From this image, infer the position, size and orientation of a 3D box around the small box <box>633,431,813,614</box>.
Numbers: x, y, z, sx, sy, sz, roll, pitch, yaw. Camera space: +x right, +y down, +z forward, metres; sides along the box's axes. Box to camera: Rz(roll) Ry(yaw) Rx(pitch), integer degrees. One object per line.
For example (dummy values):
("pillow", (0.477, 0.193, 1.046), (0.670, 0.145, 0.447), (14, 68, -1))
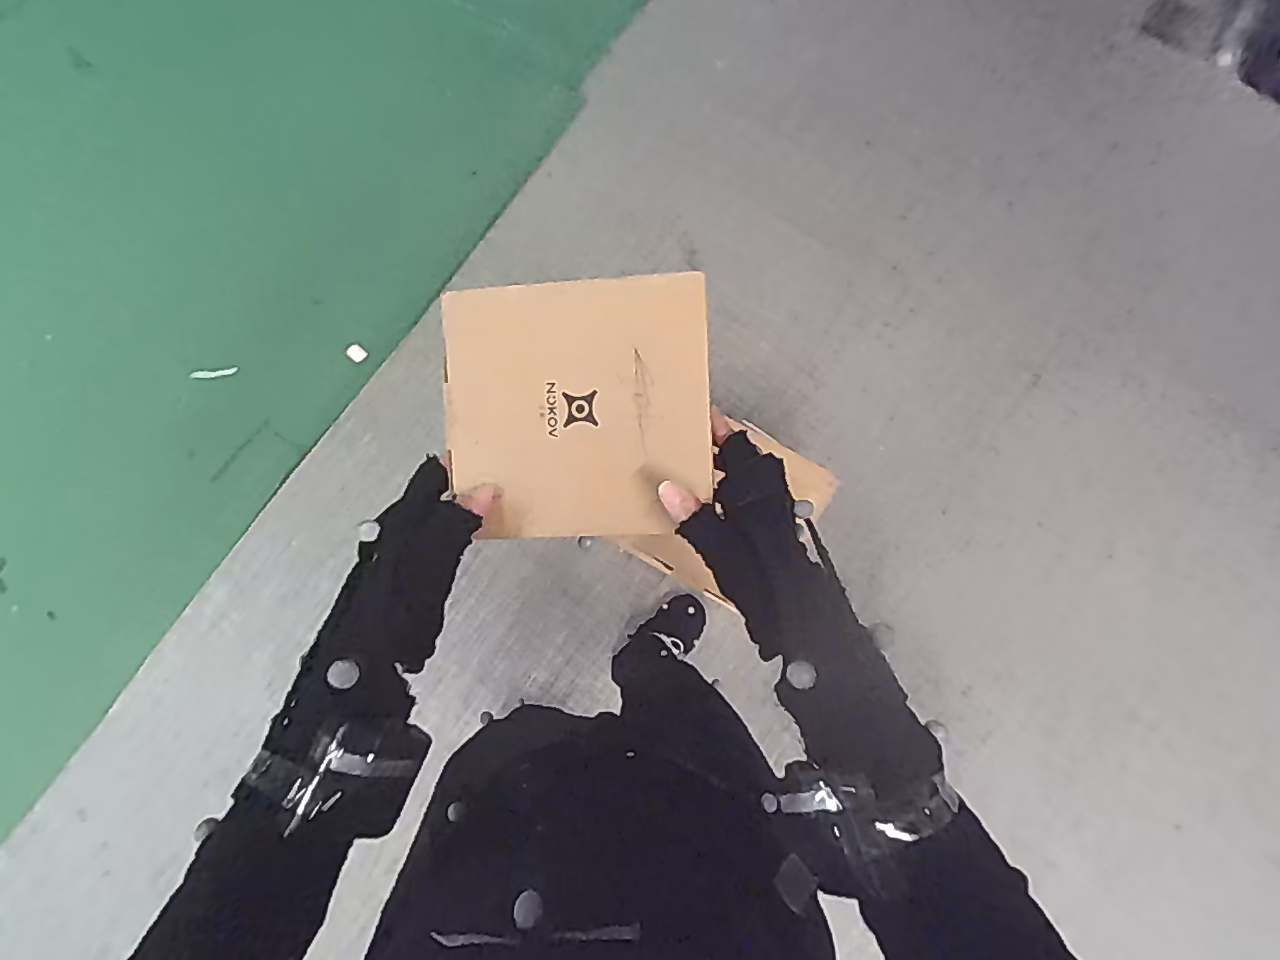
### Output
("small box", (0.110, 0.060, 0.751), (0.168, 0.176, 0.179), (31, 86, 7))

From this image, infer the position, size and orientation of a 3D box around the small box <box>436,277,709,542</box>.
("small box", (-0.039, -0.045, 0.437), (0.179, 0.176, 0.168), (-5, 92, 5))
